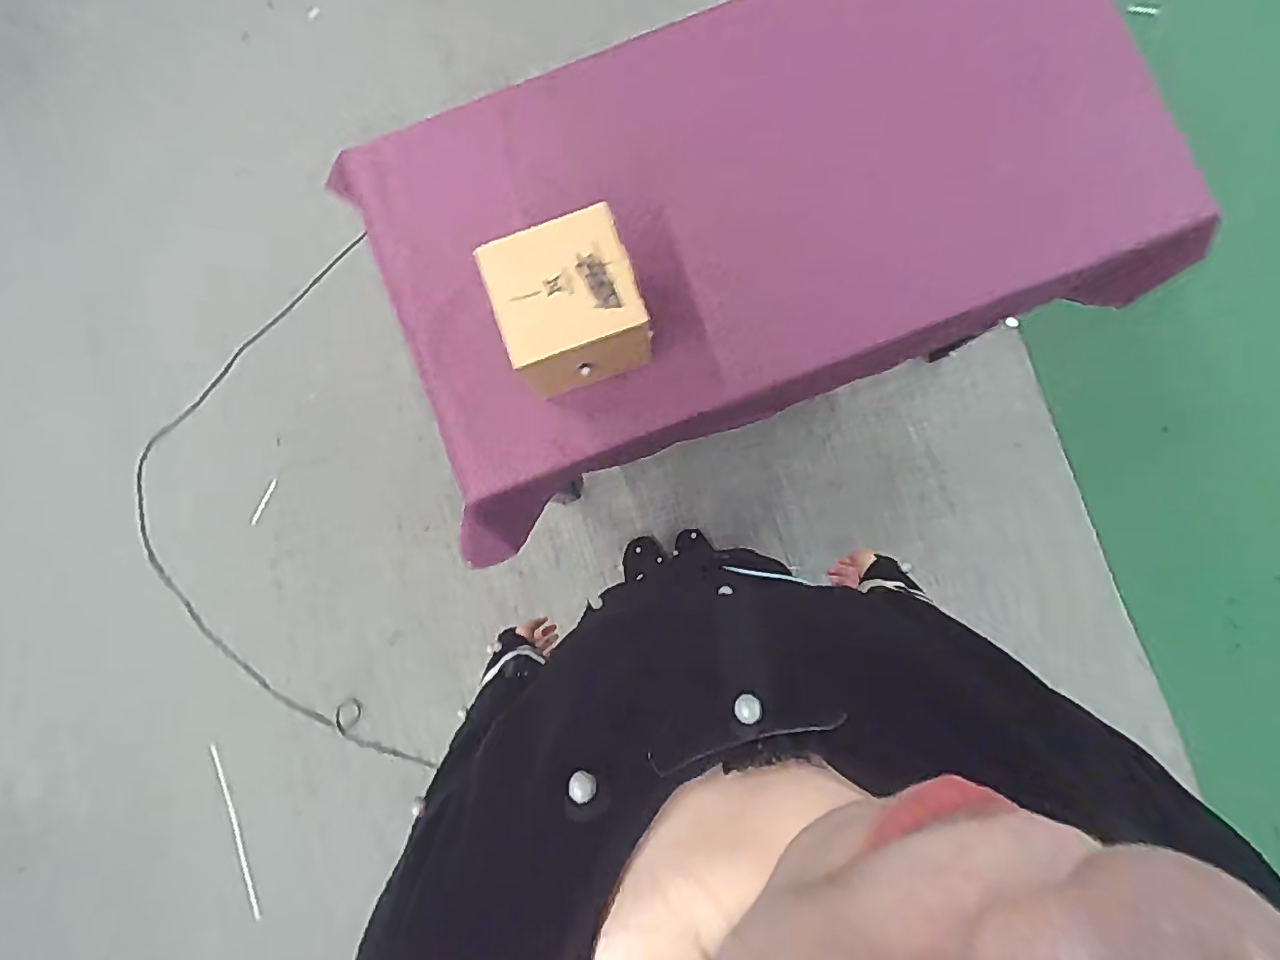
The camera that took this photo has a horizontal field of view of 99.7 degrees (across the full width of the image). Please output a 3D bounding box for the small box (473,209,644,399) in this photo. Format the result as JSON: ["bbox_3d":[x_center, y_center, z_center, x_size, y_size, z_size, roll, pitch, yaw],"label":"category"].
[{"bbox_3d":[-0.101,-0.228,0.746,0.179,0.176,0.168,-20,84,1],"label":"small box"}]
